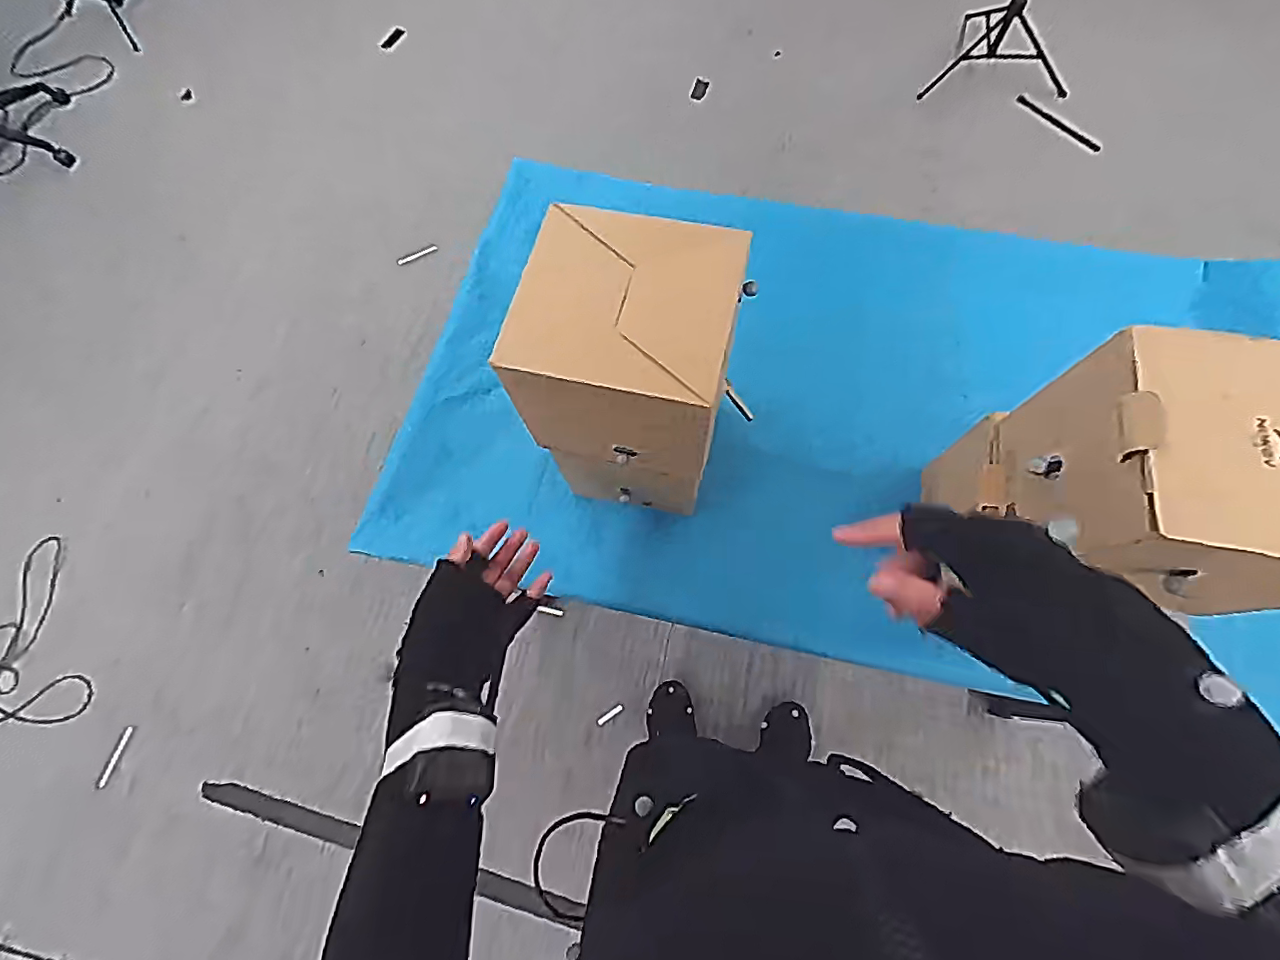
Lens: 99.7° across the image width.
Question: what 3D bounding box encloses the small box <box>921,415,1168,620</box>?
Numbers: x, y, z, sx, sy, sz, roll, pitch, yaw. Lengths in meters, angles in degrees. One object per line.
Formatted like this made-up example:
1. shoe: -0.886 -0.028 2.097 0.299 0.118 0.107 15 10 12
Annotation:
1. small box: 0.430 0.050 0.590 0.179 0.176 0.168 11 72 8

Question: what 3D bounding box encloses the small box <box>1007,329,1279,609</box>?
1. small box: 0.425 0.003 0.434 0.179 0.176 0.168 8 71 6

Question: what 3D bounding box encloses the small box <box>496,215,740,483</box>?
1. small box: -0.008 -0.113 0.503 0.179 0.176 0.168 12 72 8

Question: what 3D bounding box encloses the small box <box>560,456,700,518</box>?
1. small box: 0.003 -0.070 0.664 0.168 0.176 0.179 13 74 10
